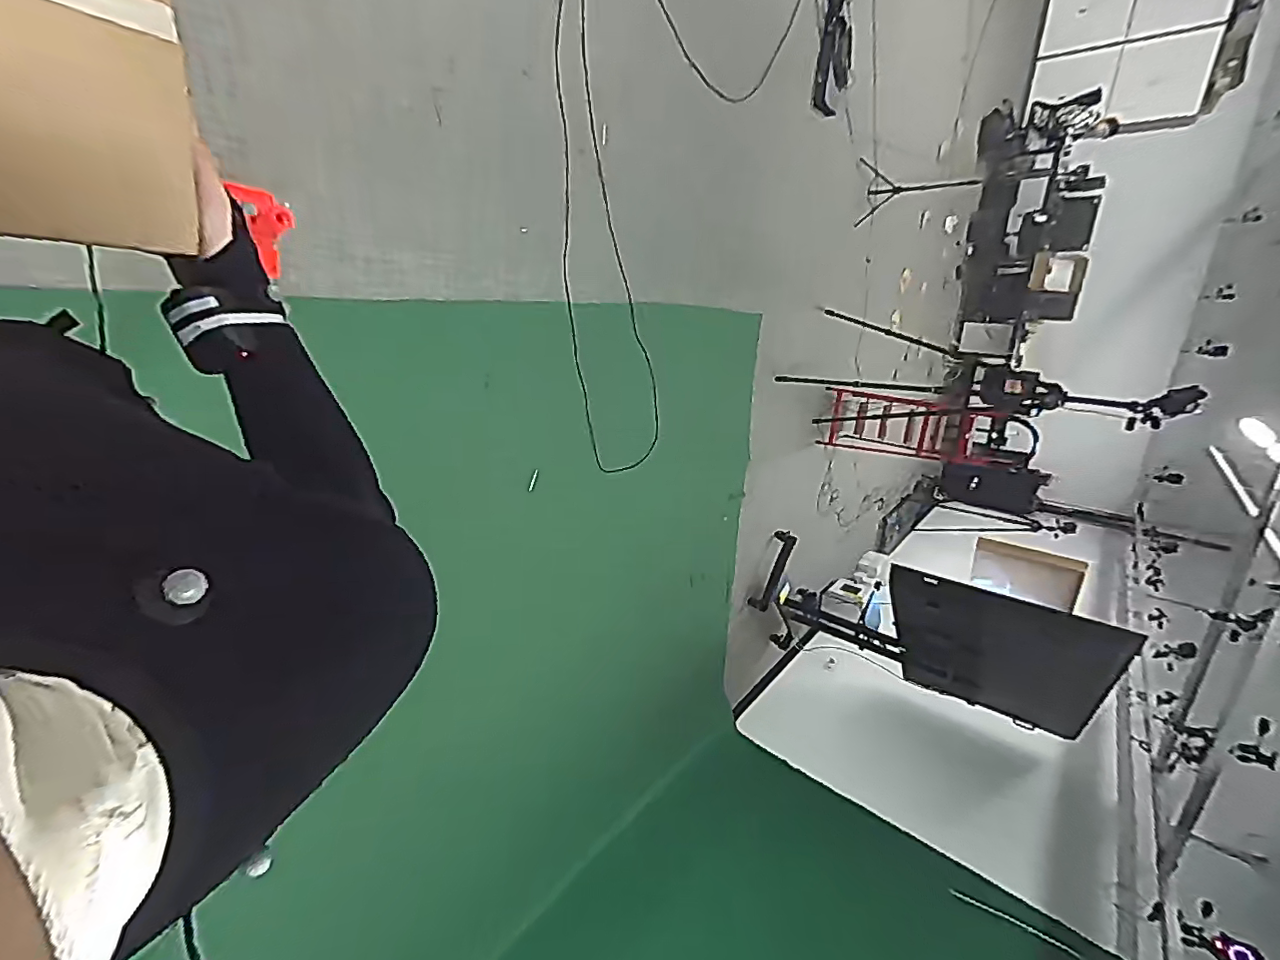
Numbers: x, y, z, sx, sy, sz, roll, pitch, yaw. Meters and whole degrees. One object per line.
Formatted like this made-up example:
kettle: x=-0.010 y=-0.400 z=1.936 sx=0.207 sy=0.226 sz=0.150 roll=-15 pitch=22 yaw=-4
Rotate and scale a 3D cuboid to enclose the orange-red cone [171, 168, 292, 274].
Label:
orange-red cone: x=-0.838 y=-0.559 z=1.165 sx=0.199 sy=0.360 sz=0.198 roll=-9 pitch=111 yaw=-52
